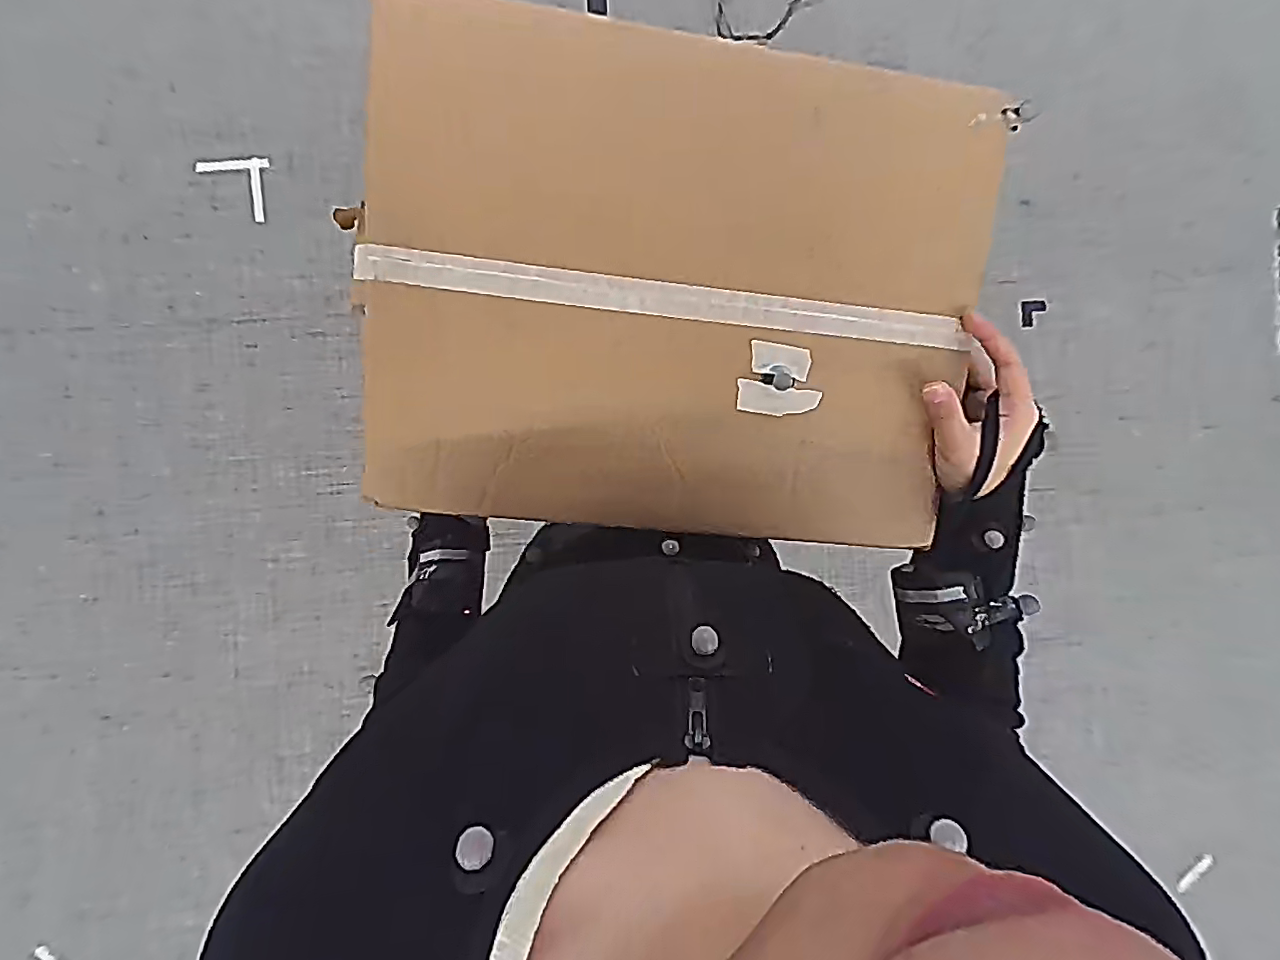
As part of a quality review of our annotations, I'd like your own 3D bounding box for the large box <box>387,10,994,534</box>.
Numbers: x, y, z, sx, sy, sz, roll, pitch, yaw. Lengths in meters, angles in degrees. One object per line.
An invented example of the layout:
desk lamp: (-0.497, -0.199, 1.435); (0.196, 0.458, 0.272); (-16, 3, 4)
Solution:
large box: (0.017, -0.143, 0.513); (0.408, 0.320, 0.320); (4, 100, -8)
